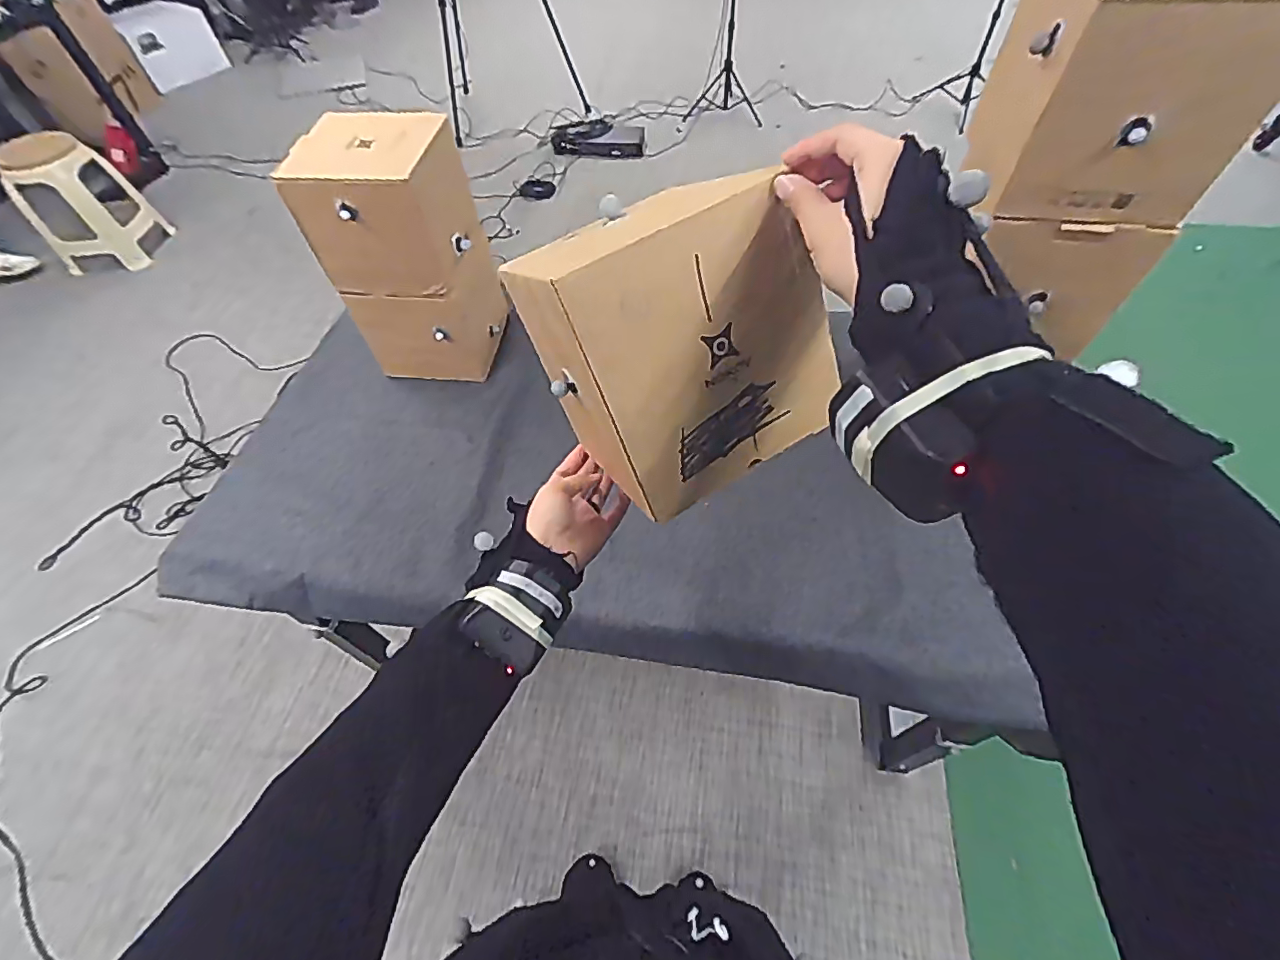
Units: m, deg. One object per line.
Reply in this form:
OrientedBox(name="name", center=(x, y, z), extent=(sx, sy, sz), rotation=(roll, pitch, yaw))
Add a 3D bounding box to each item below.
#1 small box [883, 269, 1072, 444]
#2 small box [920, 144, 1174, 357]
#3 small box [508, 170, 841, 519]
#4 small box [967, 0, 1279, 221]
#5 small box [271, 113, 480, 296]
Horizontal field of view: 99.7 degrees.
OrientedBox(name="small box", center=(0.455, -0.178, 0.766), extent=(0.168, 0.176, 0.179), rotation=(8, 57, 9))
OrientedBox(name="small box", center=(0.444, -0.266, 0.629), extent=(0.168, 0.176, 0.179), rotation=(9, 58, 9))
OrientedBox(name="small box", center=(0.020, -0.107, 0.412), extent=(0.168, 0.179, 0.176), rotation=(-30, 30, -11))
OrientedBox(name="small box", center=(0.429, -0.360, 0.493), extent=(0.168, 0.176, 0.179), rotation=(7, 56, 8))
OrientedBox(name="small box", center=(-0.343, -0.373, 0.742), extent=(0.179, 0.176, 0.168), rotation=(4, 58, 4))
